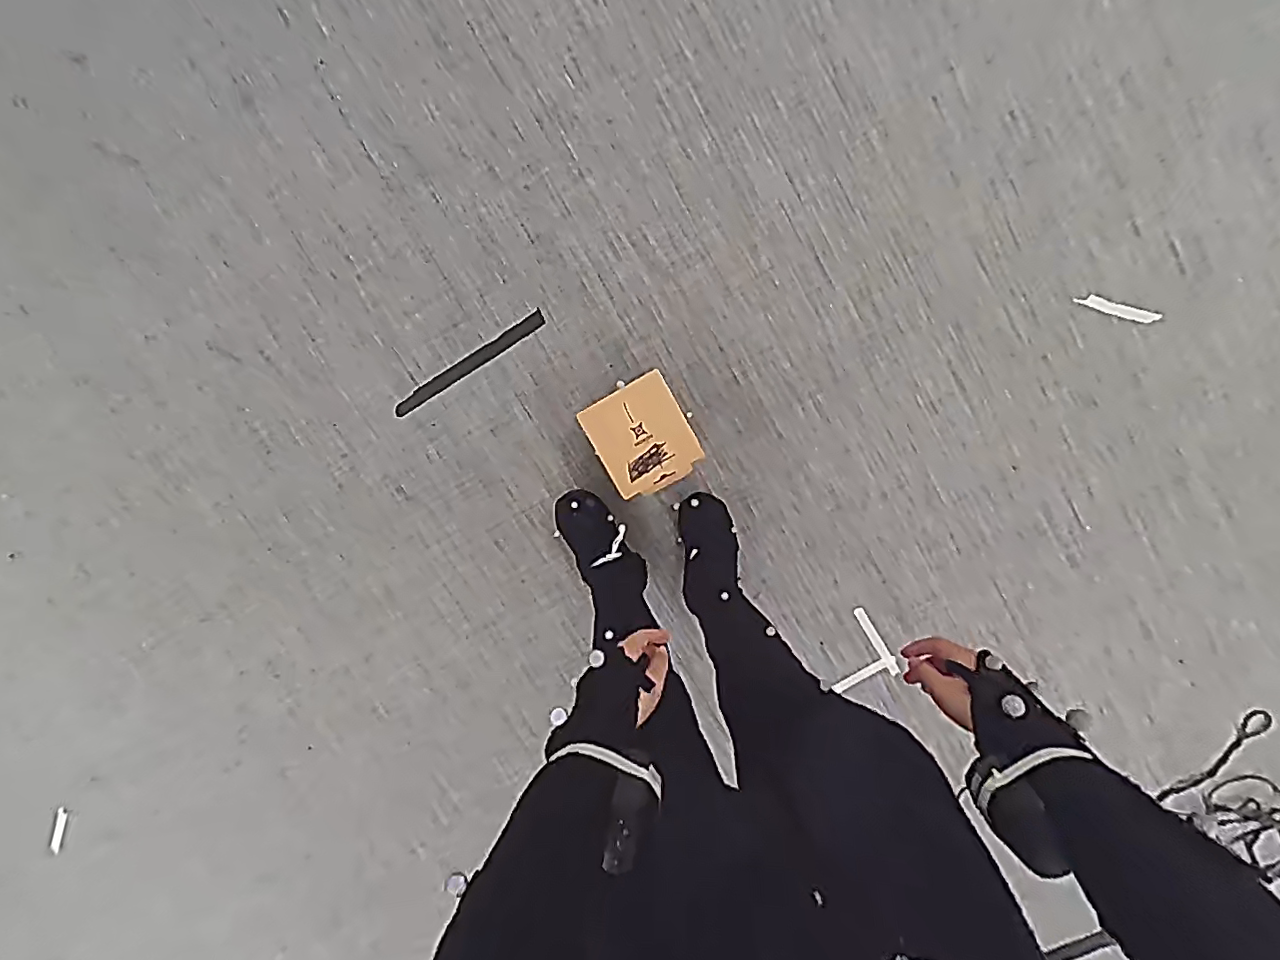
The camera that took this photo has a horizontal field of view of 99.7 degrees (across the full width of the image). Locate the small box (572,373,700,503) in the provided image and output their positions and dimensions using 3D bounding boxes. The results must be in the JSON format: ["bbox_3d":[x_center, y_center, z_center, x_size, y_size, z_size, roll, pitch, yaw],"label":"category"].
[{"bbox_3d":[-0.003,-0.083,1.007,0.168,0.176,0.179,-29,97,6],"label":"small box"}]
